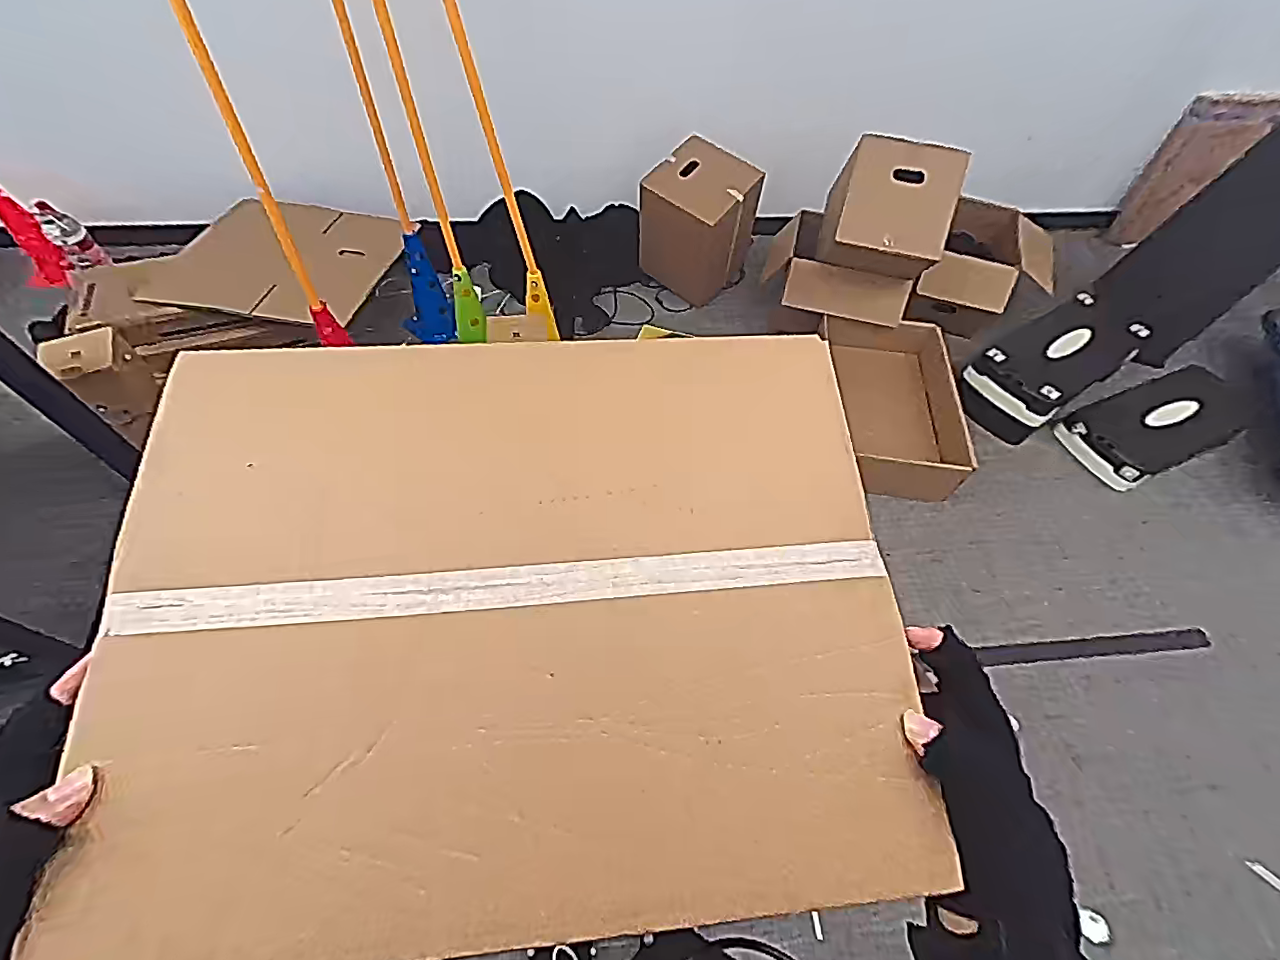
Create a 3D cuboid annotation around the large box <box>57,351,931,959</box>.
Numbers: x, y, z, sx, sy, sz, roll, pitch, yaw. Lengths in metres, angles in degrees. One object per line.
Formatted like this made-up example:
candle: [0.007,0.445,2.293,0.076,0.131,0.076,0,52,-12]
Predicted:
large box: [-0.074,0.120,0.436,0.408,0.320,0.320,-3,68,-5]
